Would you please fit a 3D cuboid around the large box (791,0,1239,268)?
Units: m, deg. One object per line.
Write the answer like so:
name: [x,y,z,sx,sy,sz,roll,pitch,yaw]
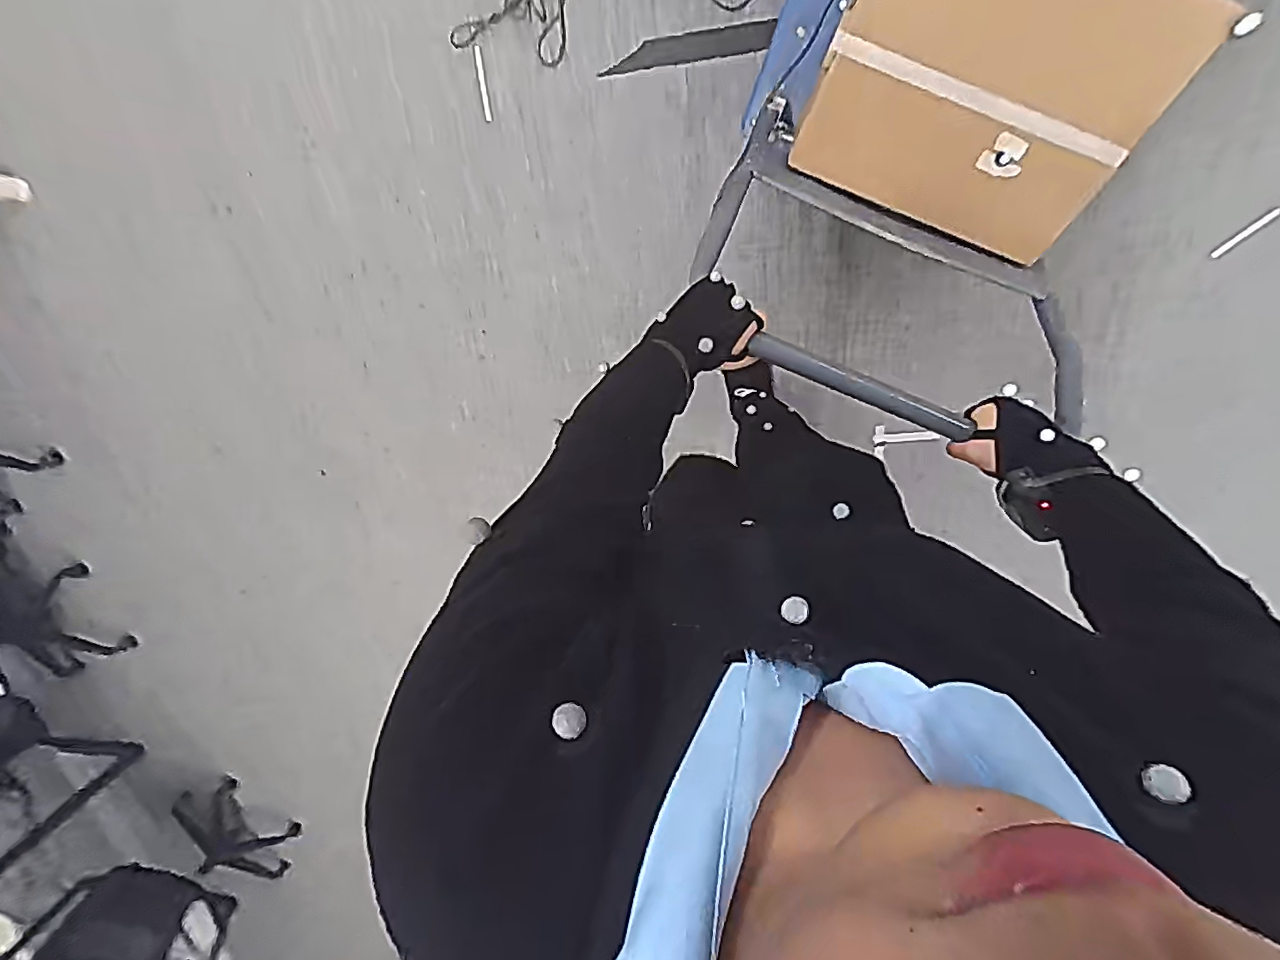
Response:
large box: [0.484,-0.588,0.812,0.408,0.320,0.320,22,137,-1]
